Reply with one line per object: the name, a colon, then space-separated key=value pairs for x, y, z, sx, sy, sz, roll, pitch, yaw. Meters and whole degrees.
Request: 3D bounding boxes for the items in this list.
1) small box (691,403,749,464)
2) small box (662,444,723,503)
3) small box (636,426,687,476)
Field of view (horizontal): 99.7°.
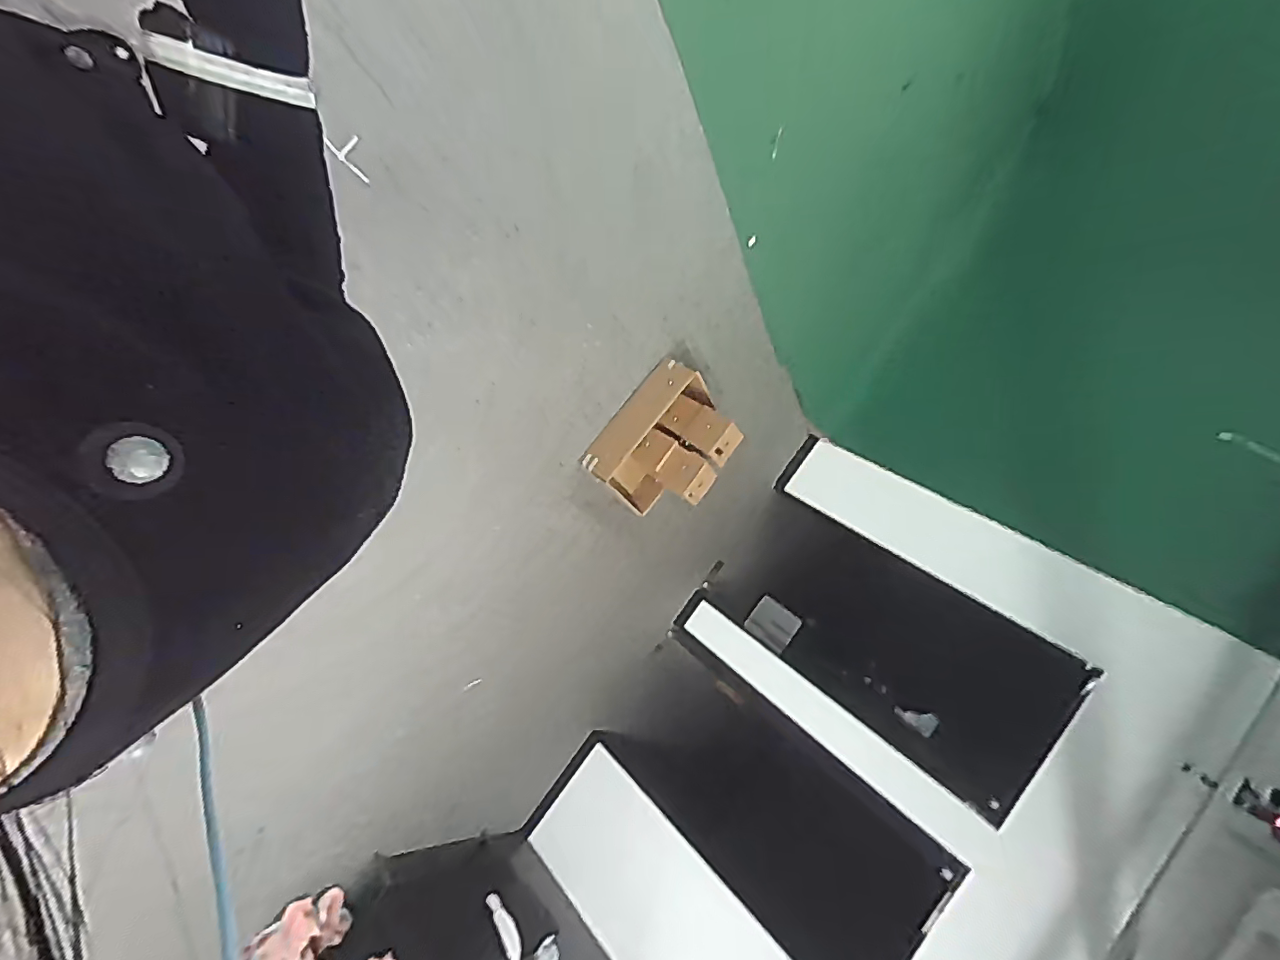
small box: x=0.343 y=-0.204 z=2.367 sx=0.179 sy=0.176 sz=0.168 roll=-54 pitch=144 yaw=-2
small box: x=0.228 y=-0.032 z=2.375 sx=0.179 sy=0.176 sz=0.168 roll=-56 pitch=145 yaw=-3
small box: x=0.114 y=-0.121 z=2.454 sx=0.168 sy=0.176 sz=0.179 roll=-53 pitch=145 yaw=-6
